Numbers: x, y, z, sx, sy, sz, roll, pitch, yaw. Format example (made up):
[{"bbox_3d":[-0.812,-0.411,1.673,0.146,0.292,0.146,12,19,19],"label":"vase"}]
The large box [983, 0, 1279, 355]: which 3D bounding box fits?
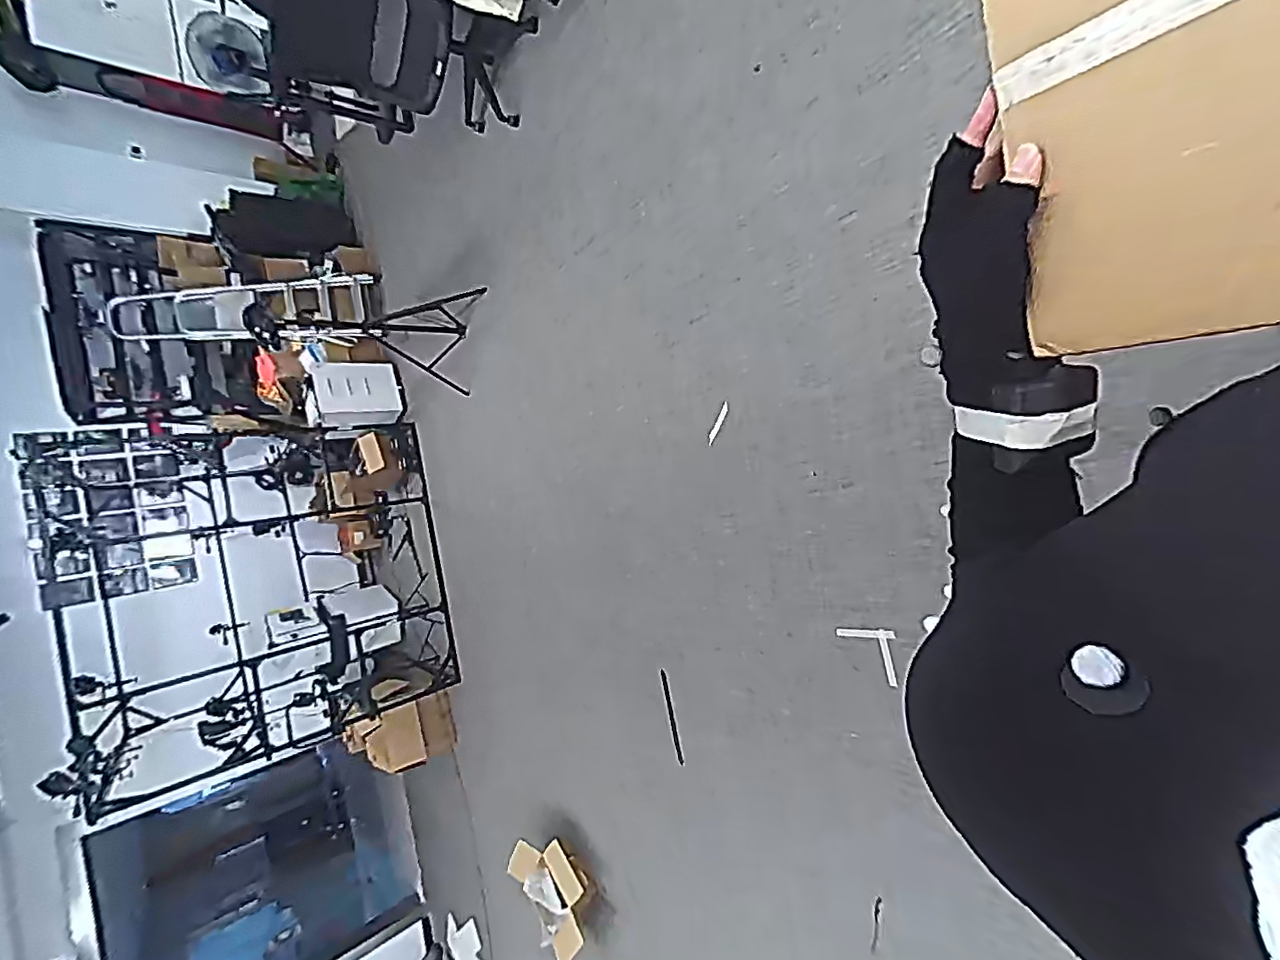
[{"bbox_3d":[0.442,-0.279,0.243,0.408,0.320,0.320,-1,109,54],"label":"large box"}]
